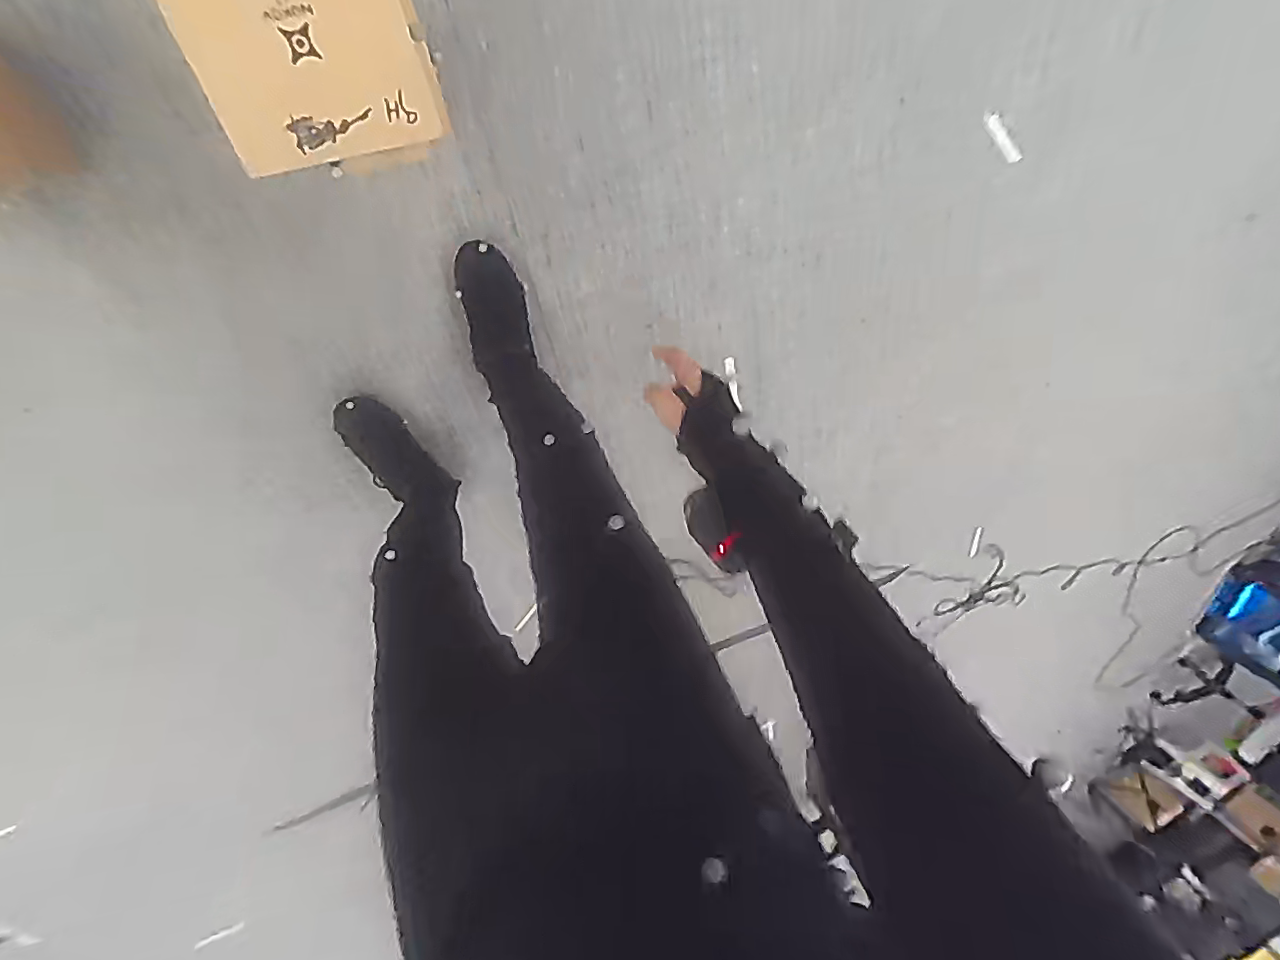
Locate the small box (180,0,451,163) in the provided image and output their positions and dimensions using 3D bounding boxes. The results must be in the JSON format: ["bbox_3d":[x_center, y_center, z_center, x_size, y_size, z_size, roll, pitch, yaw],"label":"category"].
[{"bbox_3d":[-0.283,-0.398,0.485,0.168,0.176,0.179,-18,125,-10],"label":"small box"}]
